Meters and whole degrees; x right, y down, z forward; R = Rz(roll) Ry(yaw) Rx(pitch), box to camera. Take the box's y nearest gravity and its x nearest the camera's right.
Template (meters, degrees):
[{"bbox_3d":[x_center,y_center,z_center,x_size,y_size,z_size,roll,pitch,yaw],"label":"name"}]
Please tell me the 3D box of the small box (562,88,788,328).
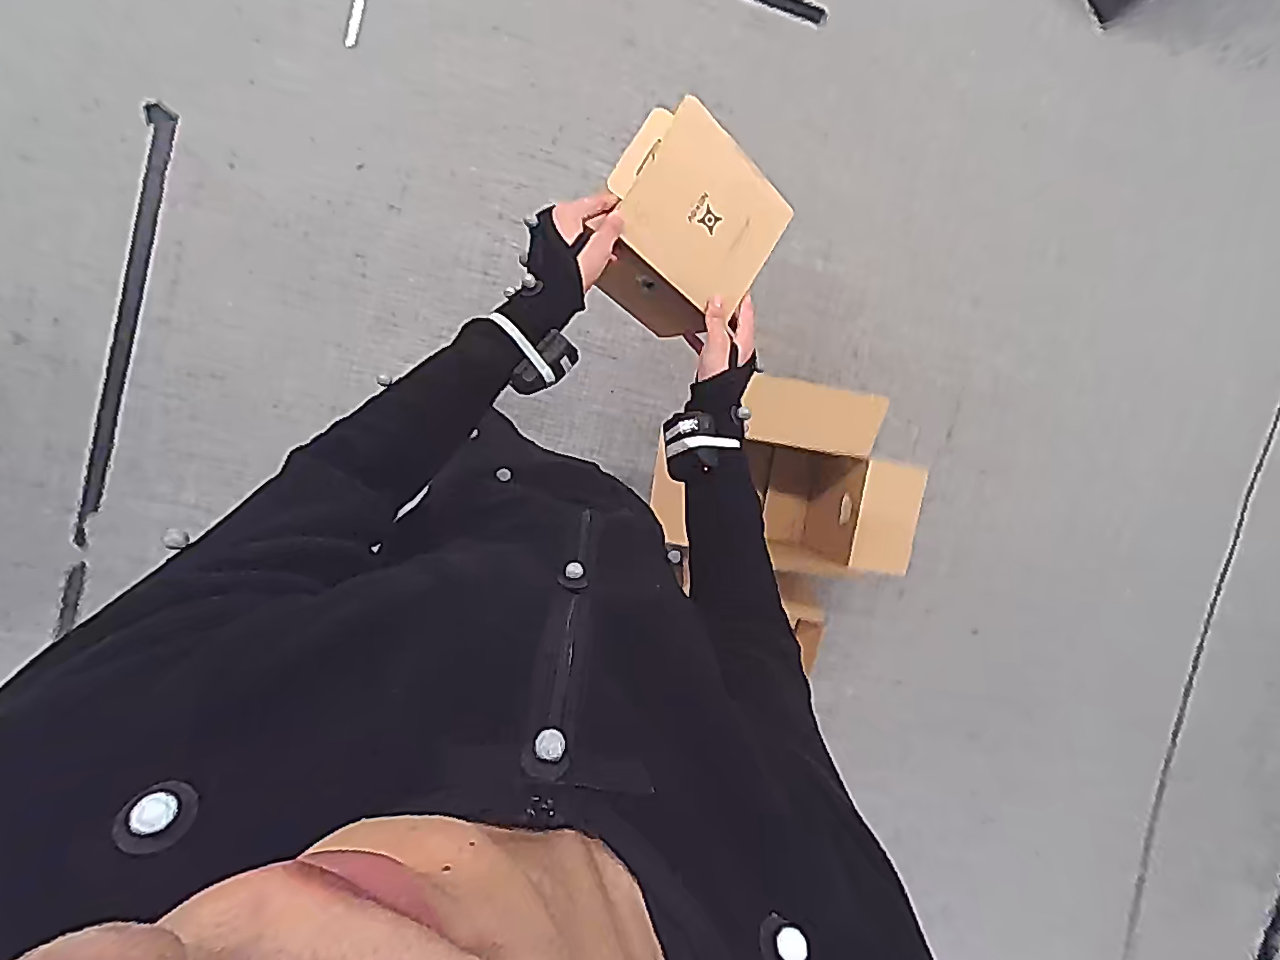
[{"bbox_3d":[0.031,-0.297,0.644,0.179,0.176,0.168,32,87,-26],"label":"small box"}]
